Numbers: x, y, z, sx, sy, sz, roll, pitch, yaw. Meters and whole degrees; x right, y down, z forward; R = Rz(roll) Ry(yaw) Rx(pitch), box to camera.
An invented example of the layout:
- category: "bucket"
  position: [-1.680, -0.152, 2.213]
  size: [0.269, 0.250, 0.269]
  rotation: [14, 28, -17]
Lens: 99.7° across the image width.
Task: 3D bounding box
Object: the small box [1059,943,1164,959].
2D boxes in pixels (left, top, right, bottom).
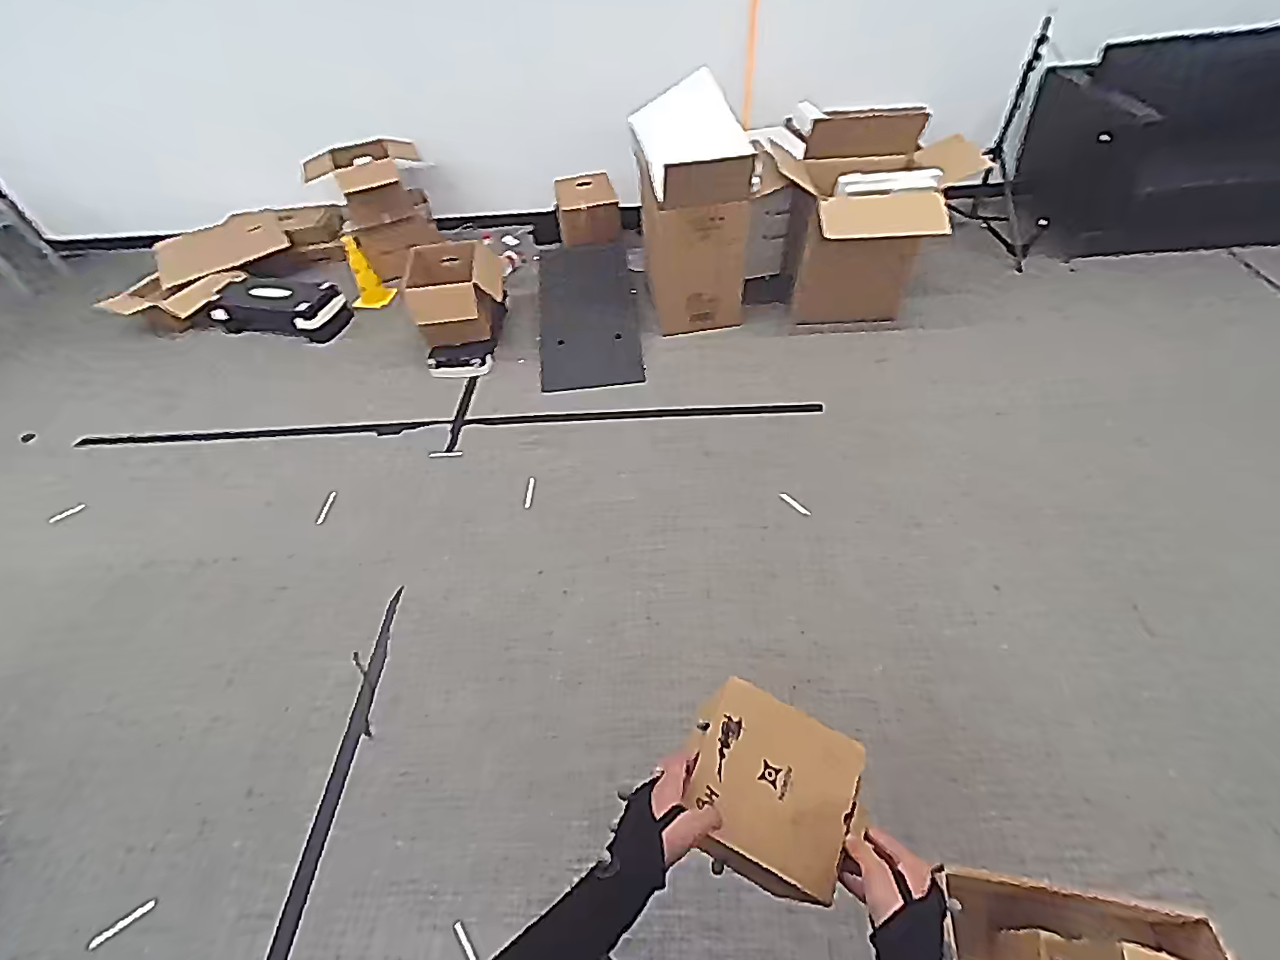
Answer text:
- category: "small box"
  position: [0.629, 0.682, 0.635]
  size: [0.179, 0.176, 0.168]
  rotation: [12, 51, 12]

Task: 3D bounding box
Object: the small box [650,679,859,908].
- category: "small box"
  position: [0.131, 0.375, 0.660]
  size: [0.179, 0.176, 0.168]
  rotation: [27, 56, 9]
